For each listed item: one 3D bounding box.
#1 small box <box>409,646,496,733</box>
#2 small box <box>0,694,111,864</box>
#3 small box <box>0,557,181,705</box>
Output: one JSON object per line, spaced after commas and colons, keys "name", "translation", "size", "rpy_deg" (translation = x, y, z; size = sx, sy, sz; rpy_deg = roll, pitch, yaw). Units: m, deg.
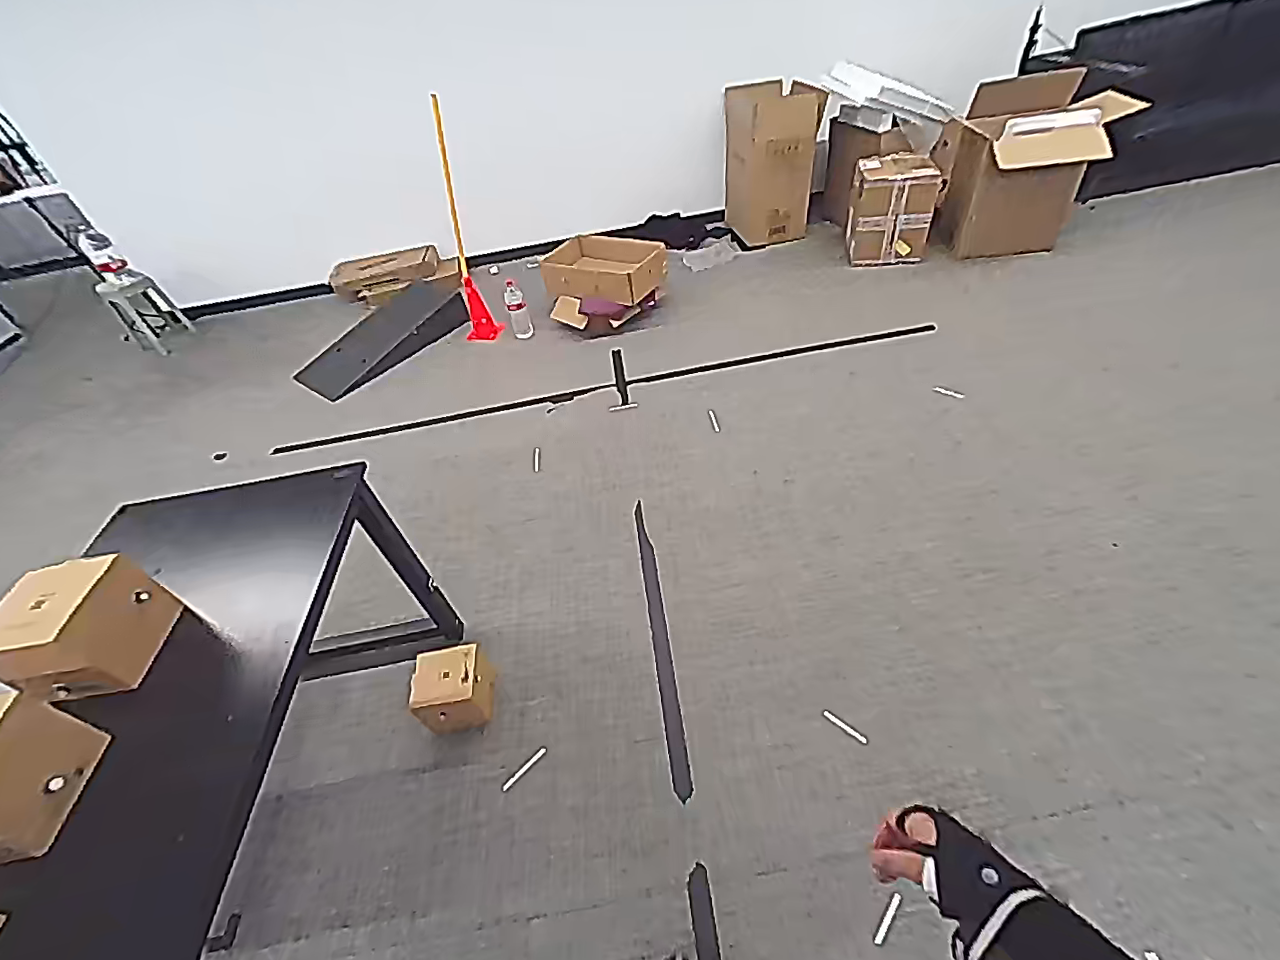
{"name": "small box", "translation": [-0.534, 0.607, 1.559], "size": [0.179, 0.176, 0.168], "rpy_deg": [-11, 44, 0]}
{"name": "small box", "translation": [-0.934, 0.430, 0.761], "size": [0.179, 0.176, 0.168], "rpy_deg": [-10, 43, 0]}
{"name": "small box", "translation": [-0.963, 0.264, 0.943], "size": [0.168, 0.176, 0.179], "rpy_deg": [-11, 44, 1]}
